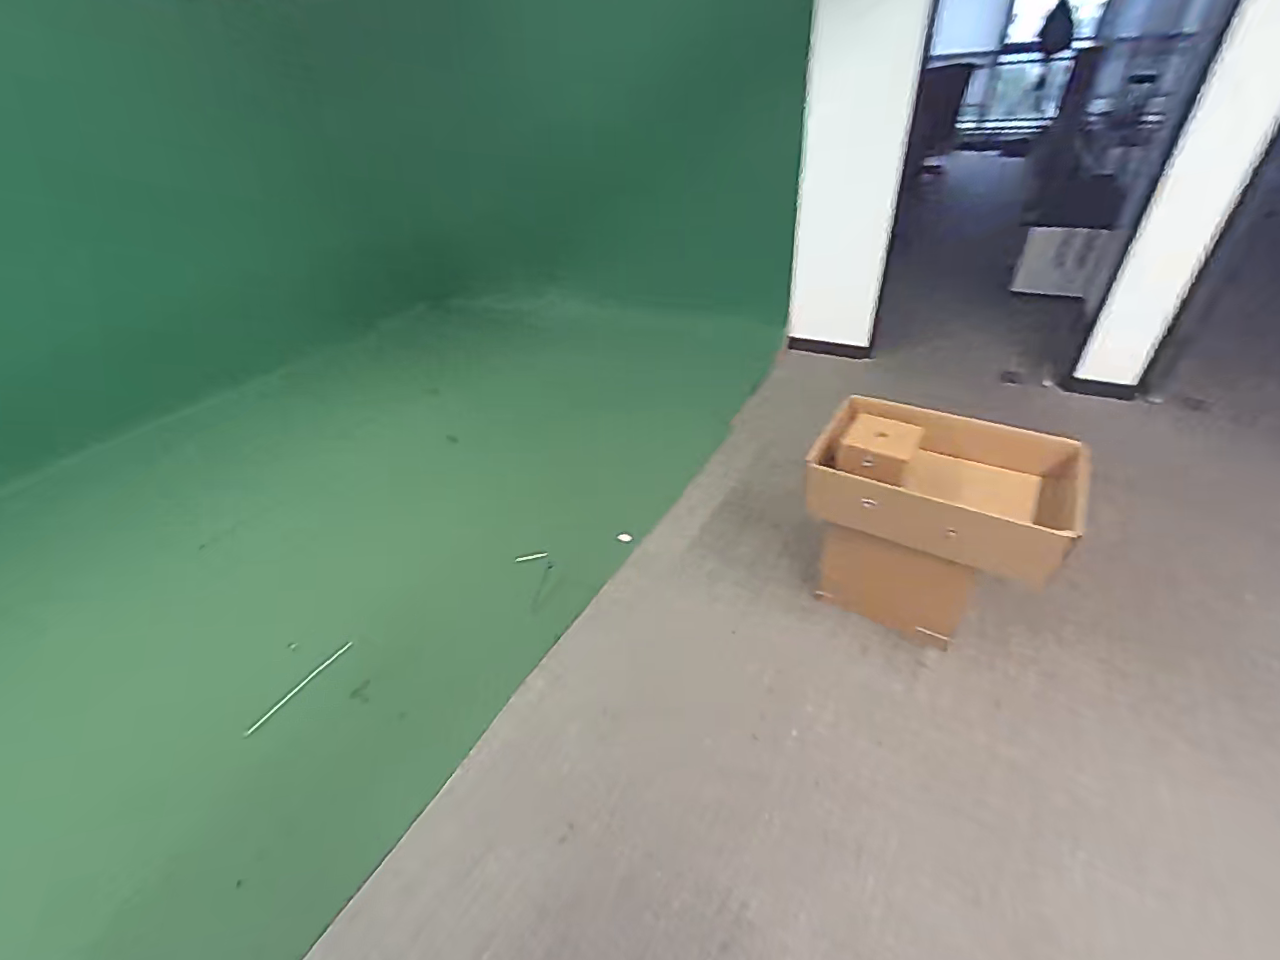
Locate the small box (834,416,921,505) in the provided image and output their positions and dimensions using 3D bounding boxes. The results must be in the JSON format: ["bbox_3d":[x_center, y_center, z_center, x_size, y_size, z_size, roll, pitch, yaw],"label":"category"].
[{"bbox_3d":[0.662,-0.054,1.519,0.179,0.176,0.168,19,46,30],"label":"small box"}]
